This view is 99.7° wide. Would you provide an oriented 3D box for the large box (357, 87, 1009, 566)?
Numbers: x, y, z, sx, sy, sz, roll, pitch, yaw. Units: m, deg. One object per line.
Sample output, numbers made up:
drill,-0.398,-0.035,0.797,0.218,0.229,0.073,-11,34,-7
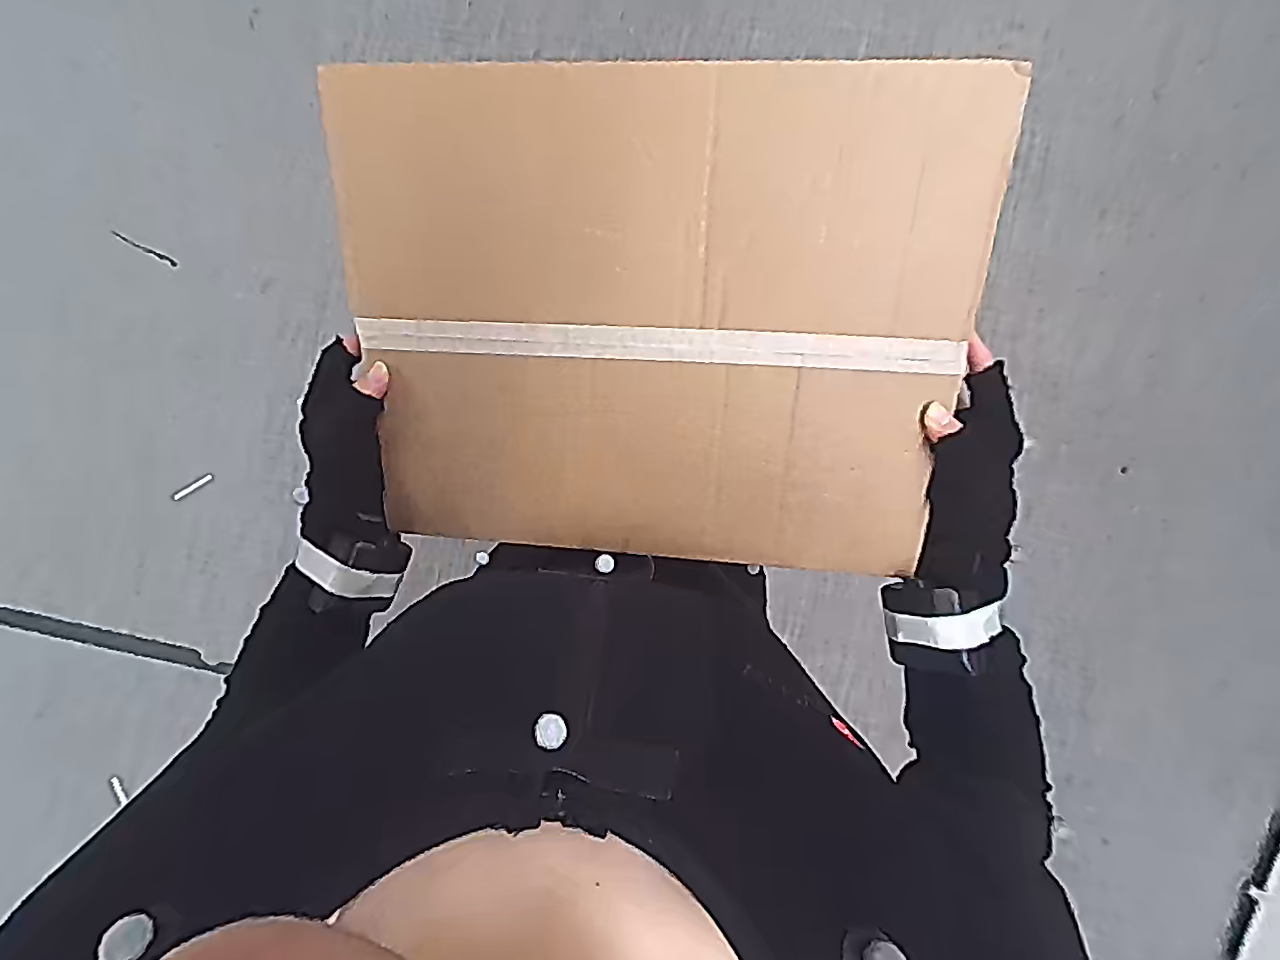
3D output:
large box,0.026,-0.139,0.515,0.408,0.320,0.320,4,111,6
